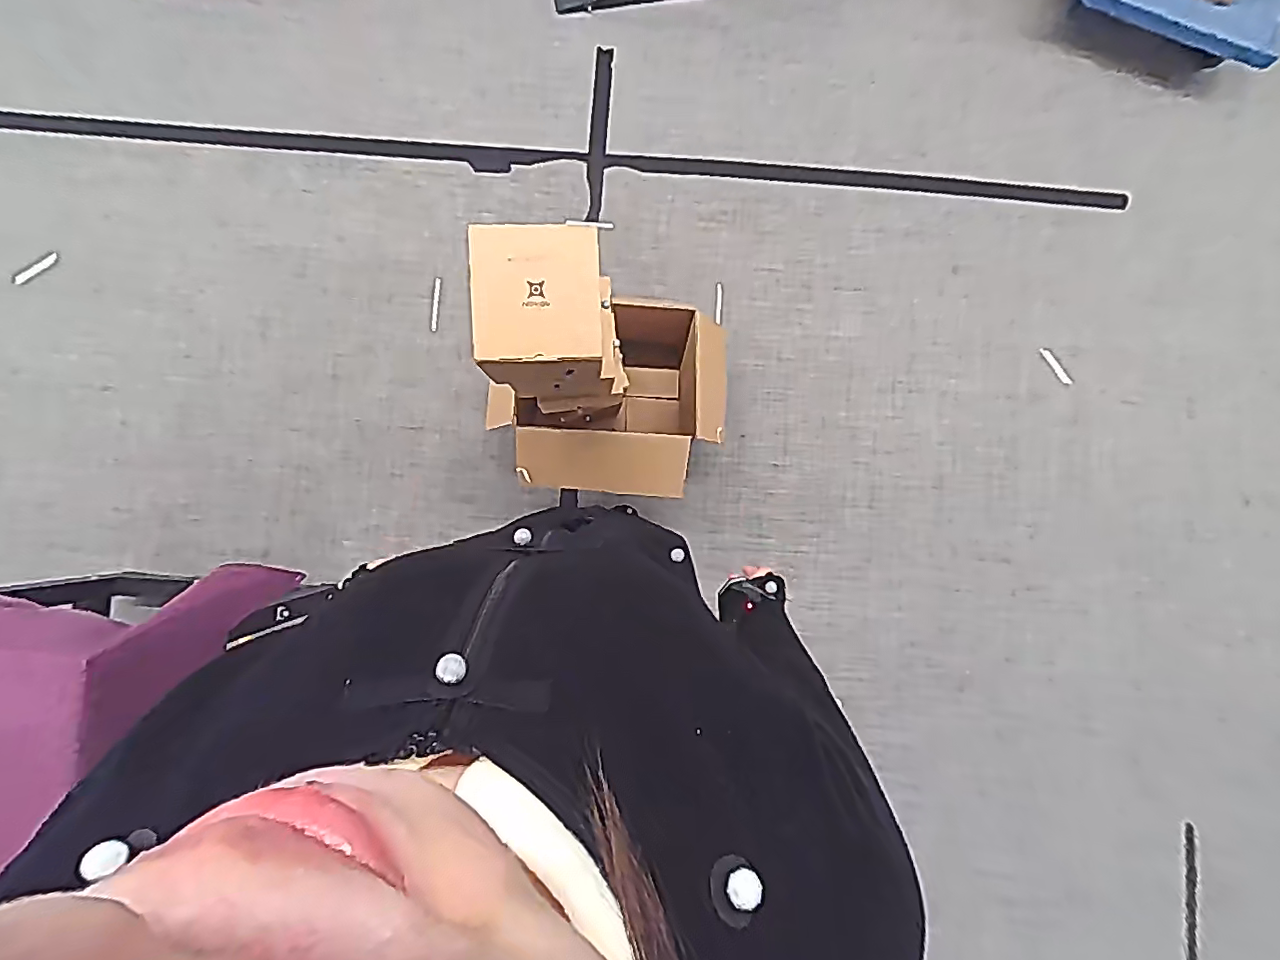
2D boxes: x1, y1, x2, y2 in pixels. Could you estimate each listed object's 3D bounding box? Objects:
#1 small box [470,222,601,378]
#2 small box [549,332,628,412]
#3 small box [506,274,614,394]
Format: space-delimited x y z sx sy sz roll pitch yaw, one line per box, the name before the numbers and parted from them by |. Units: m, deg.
small box | -0.139 -0.242 0.768 0.168 0.176 0.179 -2 90 -6
small box | -0.137 -0.265 1.262 0.179 0.176 0.168 -17 92 -6
small box | -0.137 -0.243 0.932 0.179 0.176 0.168 -3 92 -6
